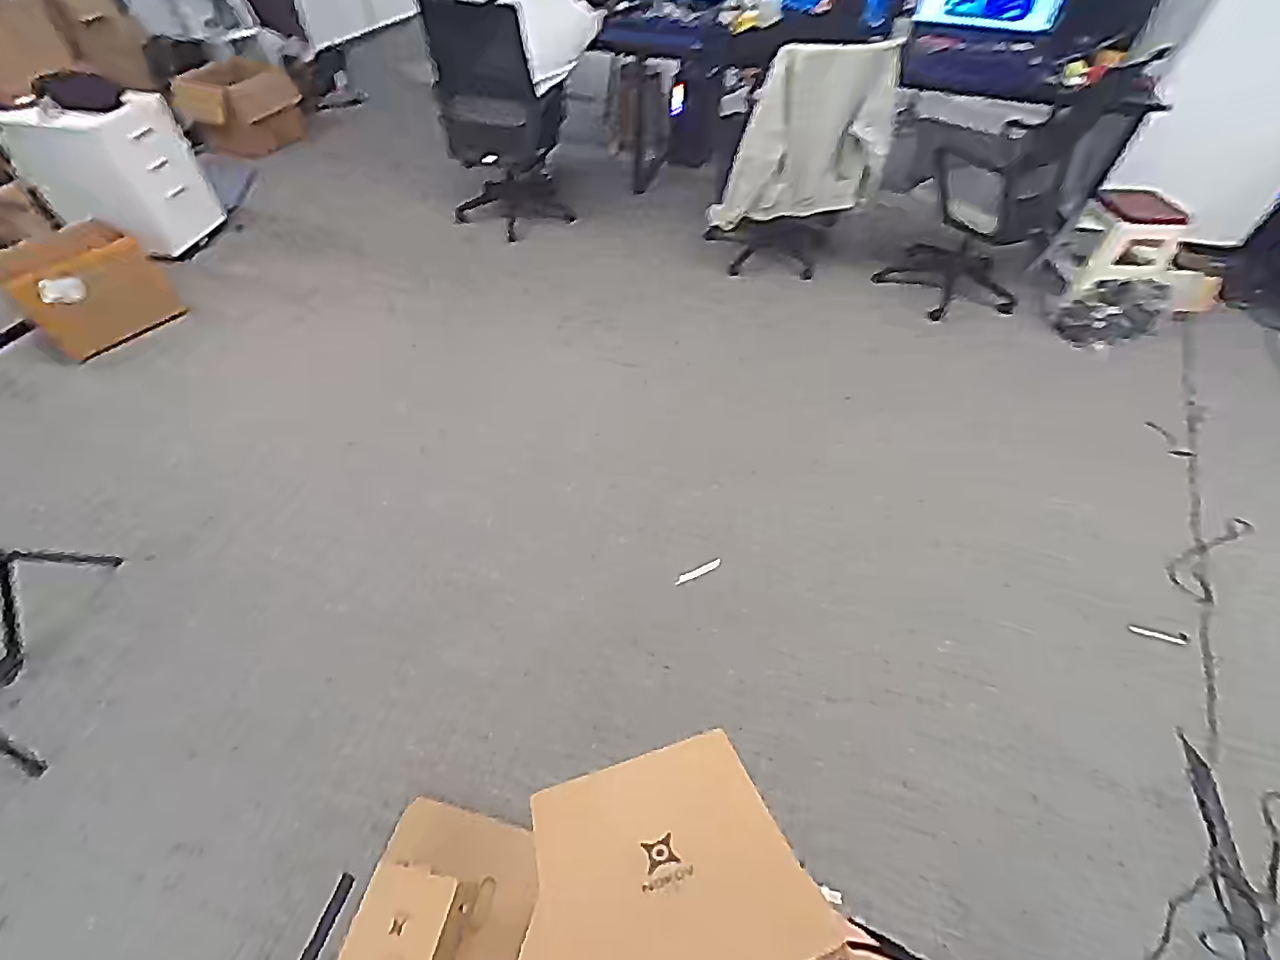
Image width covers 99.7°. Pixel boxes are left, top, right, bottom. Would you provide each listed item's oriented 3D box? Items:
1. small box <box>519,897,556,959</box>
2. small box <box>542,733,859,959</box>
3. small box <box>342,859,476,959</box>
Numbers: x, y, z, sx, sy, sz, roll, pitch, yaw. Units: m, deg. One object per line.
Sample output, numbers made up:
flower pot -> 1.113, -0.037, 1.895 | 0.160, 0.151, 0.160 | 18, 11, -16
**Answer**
small box -> -0.129, 0.909, 1.007 | 0.179, 0.176, 0.168 | 14, 52, 8
small box -> 0.031, 0.327, 0.383 | 0.168, 0.176, 0.179 | -12, 22, -12
small box -> -0.432, 0.860, 1.040 | 0.168, 0.176, 0.179 | 8, 51, 7
